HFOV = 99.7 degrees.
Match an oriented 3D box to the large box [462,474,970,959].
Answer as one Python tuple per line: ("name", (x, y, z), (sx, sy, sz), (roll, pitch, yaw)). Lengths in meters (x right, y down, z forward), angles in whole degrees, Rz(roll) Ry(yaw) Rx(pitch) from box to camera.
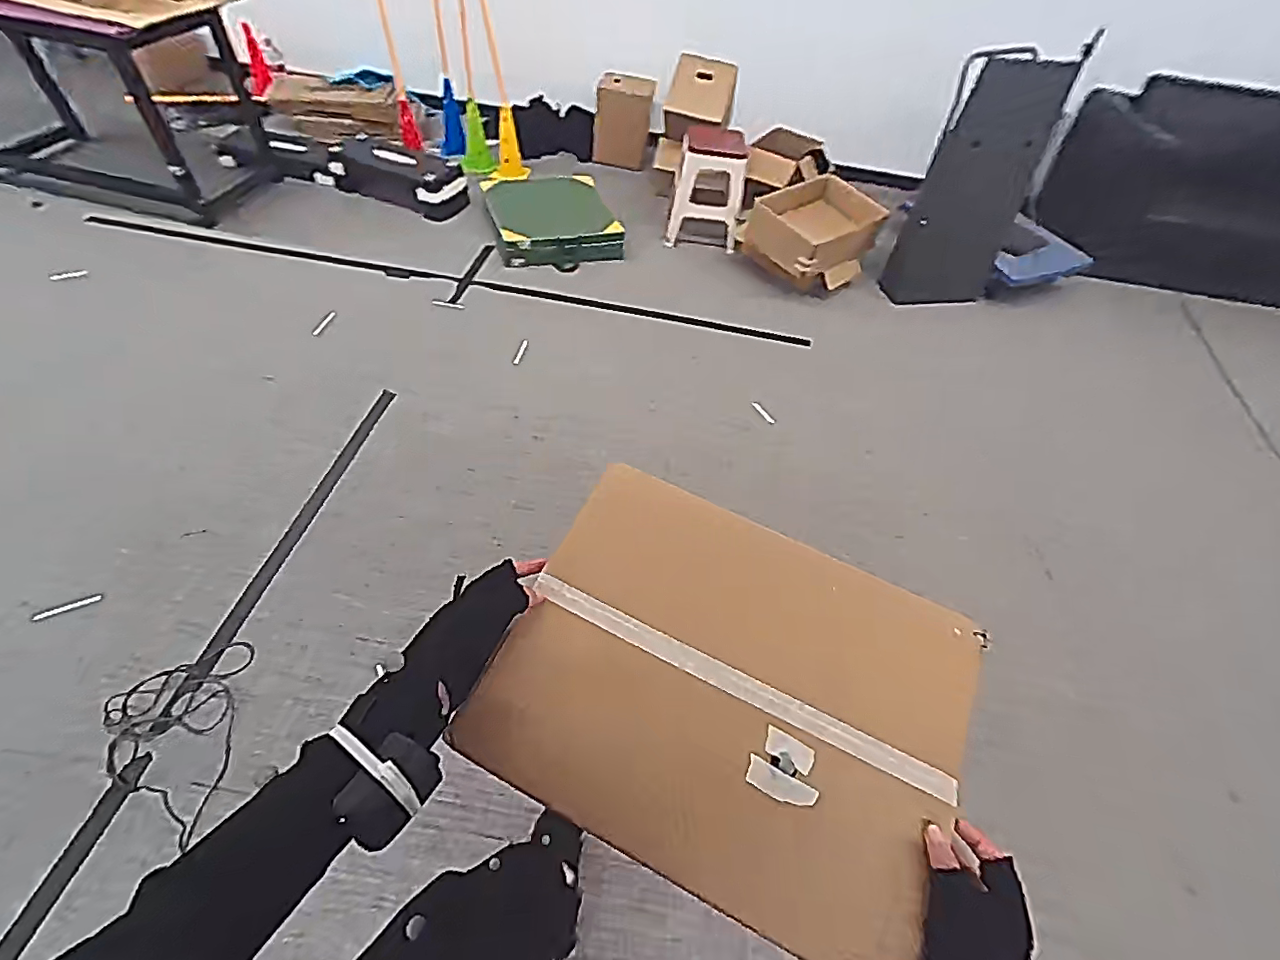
("large box", (0.077, 0.258, 0.632), (0.408, 0.320, 0.320), (25, 64, 10))
